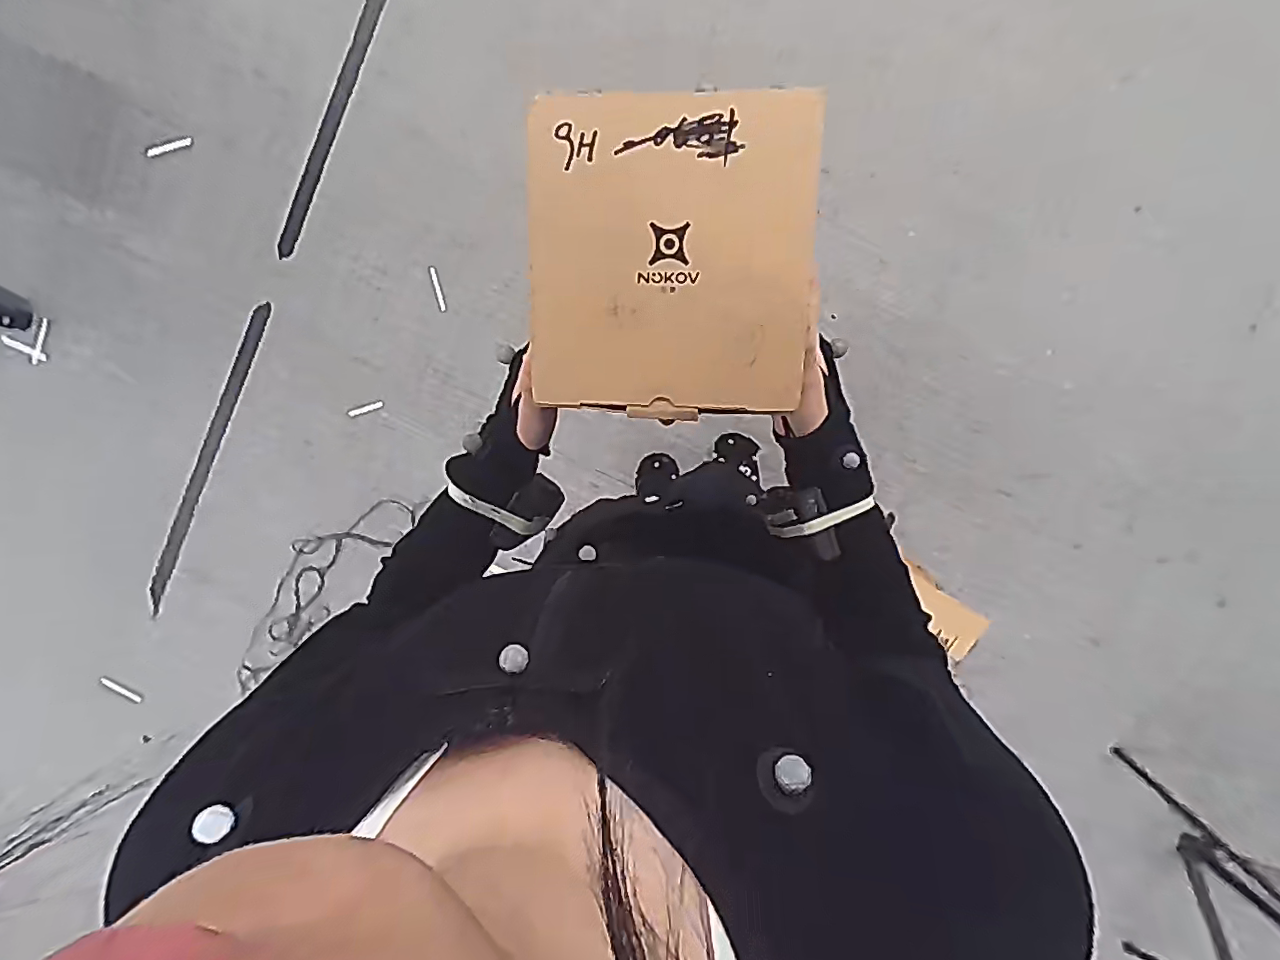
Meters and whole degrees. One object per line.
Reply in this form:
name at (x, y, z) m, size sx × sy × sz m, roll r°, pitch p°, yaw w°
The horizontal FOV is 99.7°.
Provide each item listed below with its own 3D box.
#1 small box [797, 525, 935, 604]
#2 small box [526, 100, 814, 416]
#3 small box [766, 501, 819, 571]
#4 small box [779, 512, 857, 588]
small box at (0.437, 0.209, 1.082) m, size 0.168 × 0.176 × 0.179 m, roll 33°, pitch 97°, yaw 2°
small box at (0.020, -0.145, 0.400) m, size 0.168 × 0.176 × 0.179 m, roll 2°, pitch 102°, yaw 4°
small box at (0.445, 0.174, 1.407) m, size 0.168 × 0.176 × 0.179 m, roll 33°, pitch 96°, yaw 1°
small box at (0.441, 0.192, 1.243) m, size 0.168 × 0.176 × 0.179 m, roll 36°, pitch 96°, yaw 1°
